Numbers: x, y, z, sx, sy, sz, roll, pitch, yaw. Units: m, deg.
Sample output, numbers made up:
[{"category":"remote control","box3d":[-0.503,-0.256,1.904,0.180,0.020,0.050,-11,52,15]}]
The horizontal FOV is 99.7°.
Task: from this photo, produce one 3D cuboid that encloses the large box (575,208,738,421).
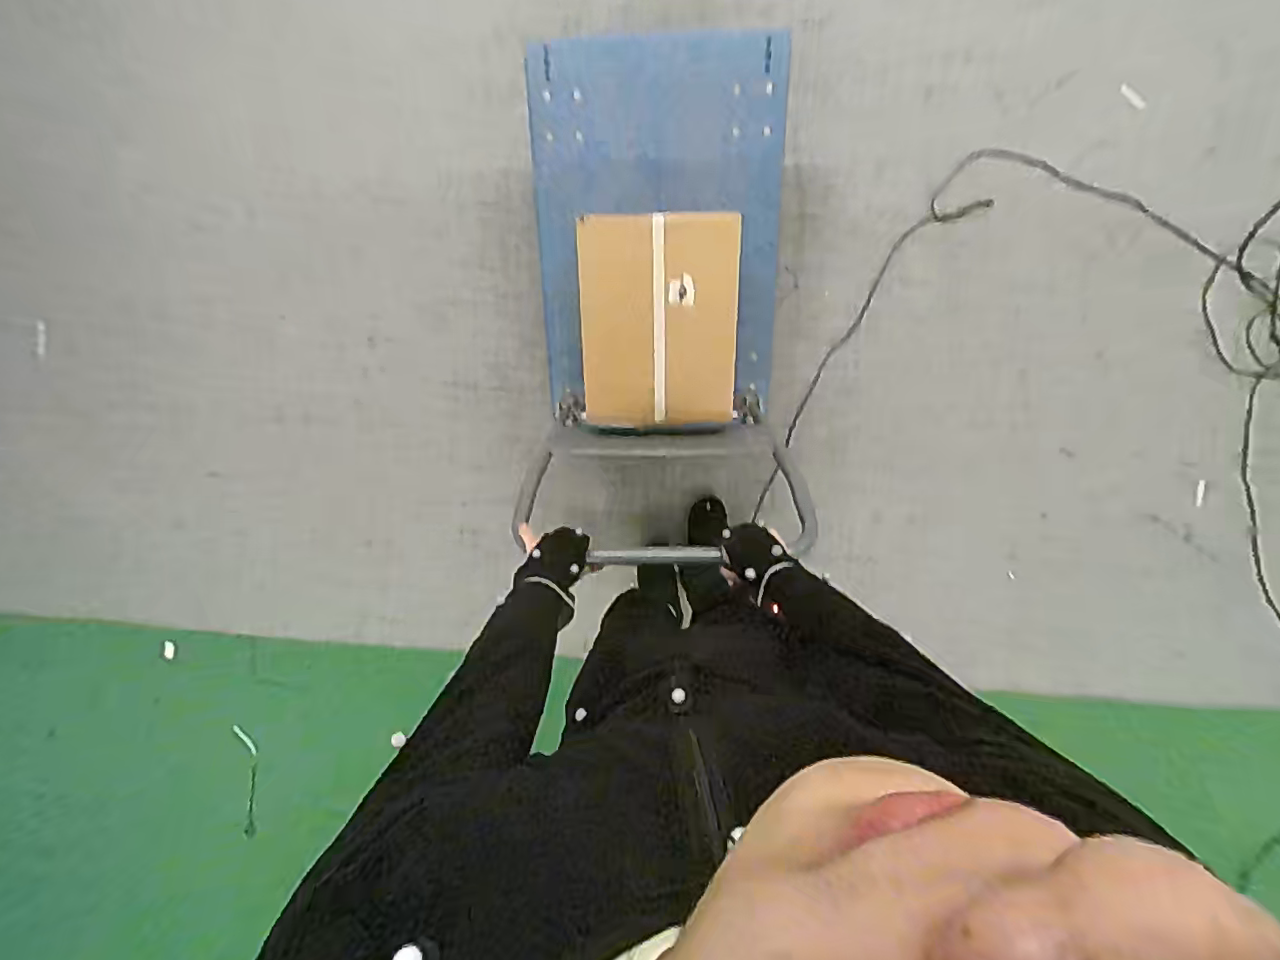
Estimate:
[{"category":"large box","box3d":[0.043,-0.365,1.214,0.320,0.320,0.408,-1,111,2]}]
